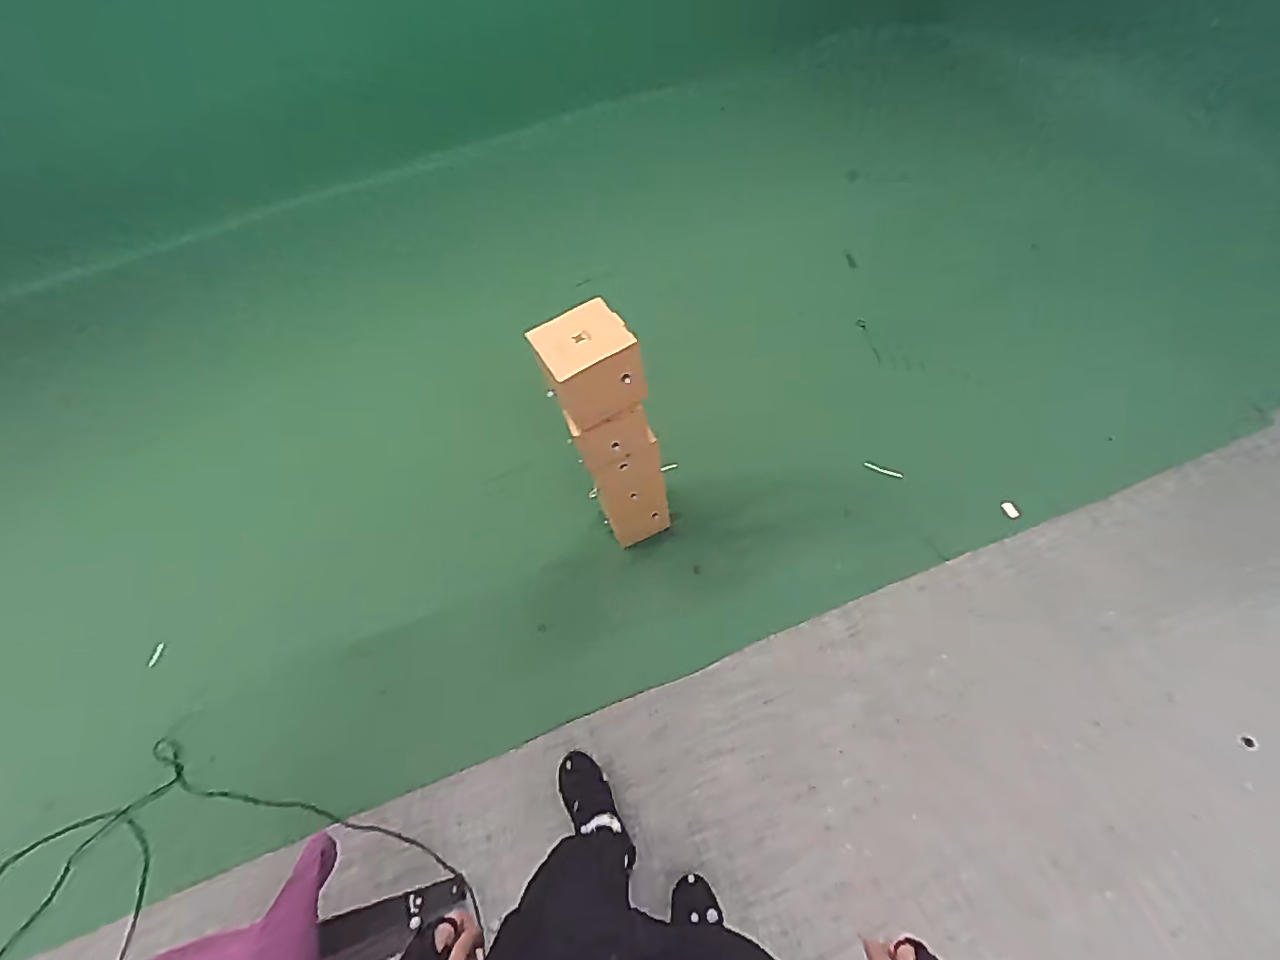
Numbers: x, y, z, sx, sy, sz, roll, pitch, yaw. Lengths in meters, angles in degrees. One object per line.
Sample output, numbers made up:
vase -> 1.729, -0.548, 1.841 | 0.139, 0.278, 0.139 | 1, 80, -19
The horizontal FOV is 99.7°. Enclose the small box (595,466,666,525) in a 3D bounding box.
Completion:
small box -> -0.034, 0.003, 1.564 | 0.179, 0.176, 0.168 | -23, 59, -6

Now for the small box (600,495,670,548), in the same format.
small box -> -0.016, 0.085, 1.701 | 0.179, 0.176, 0.168 | -24, 59, -8

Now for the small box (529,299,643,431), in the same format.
small box -> -0.105, -0.239, 1.143 | 0.179, 0.176, 0.168 | -30, 59, -9

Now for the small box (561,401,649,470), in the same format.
small box -> -0.086, -0.145, 1.276 | 0.168, 0.176, 0.179 | -22, 60, -5

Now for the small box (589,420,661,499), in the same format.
small box -> -0.057, -0.077, 1.423 | 0.179, 0.176, 0.168 | -25, 60, -8
